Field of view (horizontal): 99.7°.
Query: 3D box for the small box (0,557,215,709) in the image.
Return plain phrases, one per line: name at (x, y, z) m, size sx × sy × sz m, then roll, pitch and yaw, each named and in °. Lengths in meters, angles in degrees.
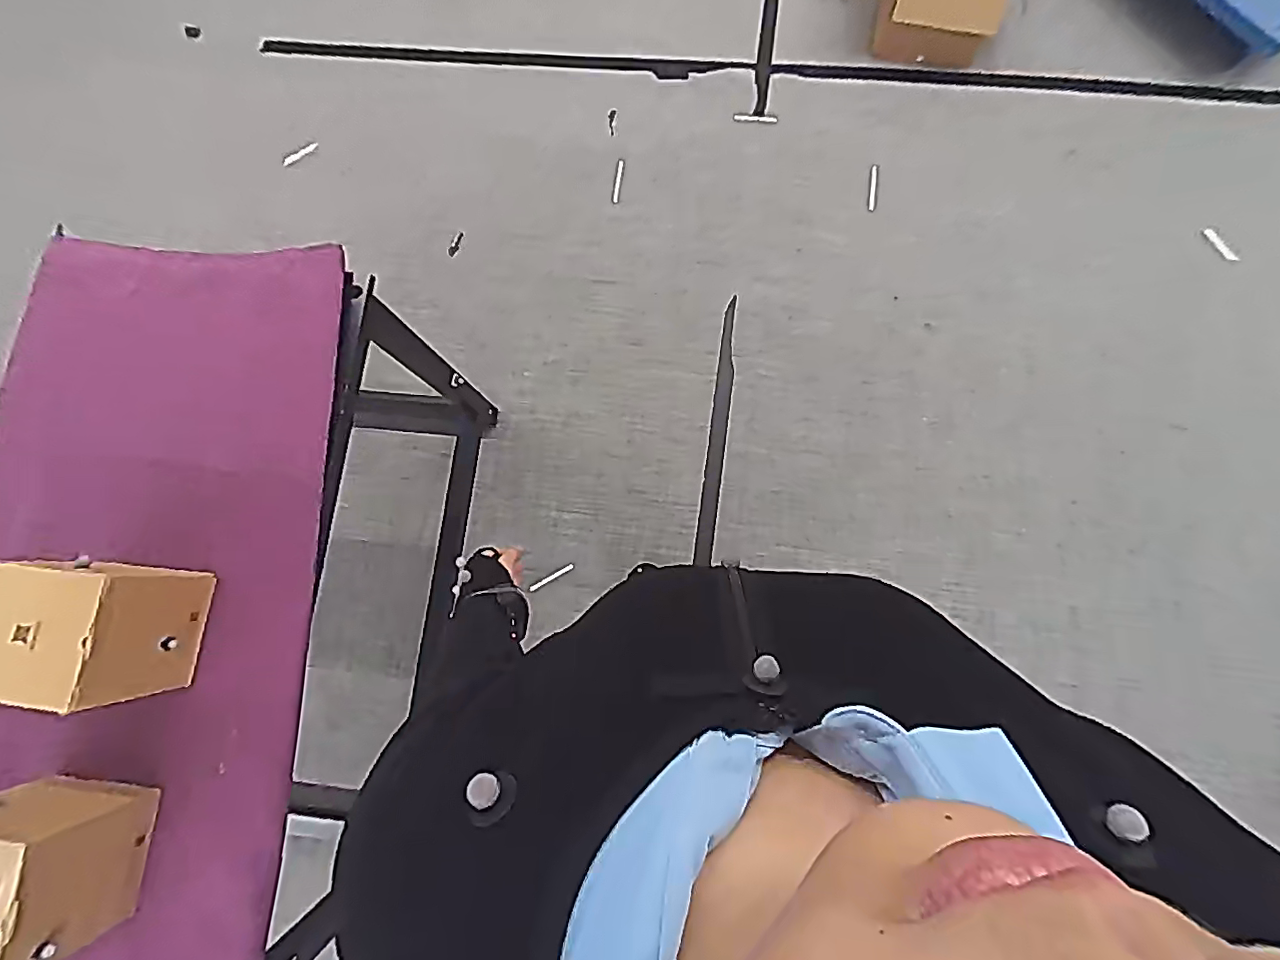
small box at (-0.750, 0.201, 0.745) m, size 0.179 × 0.176 × 0.168 m, roll 6°, pitch 80°, yaw 4°
